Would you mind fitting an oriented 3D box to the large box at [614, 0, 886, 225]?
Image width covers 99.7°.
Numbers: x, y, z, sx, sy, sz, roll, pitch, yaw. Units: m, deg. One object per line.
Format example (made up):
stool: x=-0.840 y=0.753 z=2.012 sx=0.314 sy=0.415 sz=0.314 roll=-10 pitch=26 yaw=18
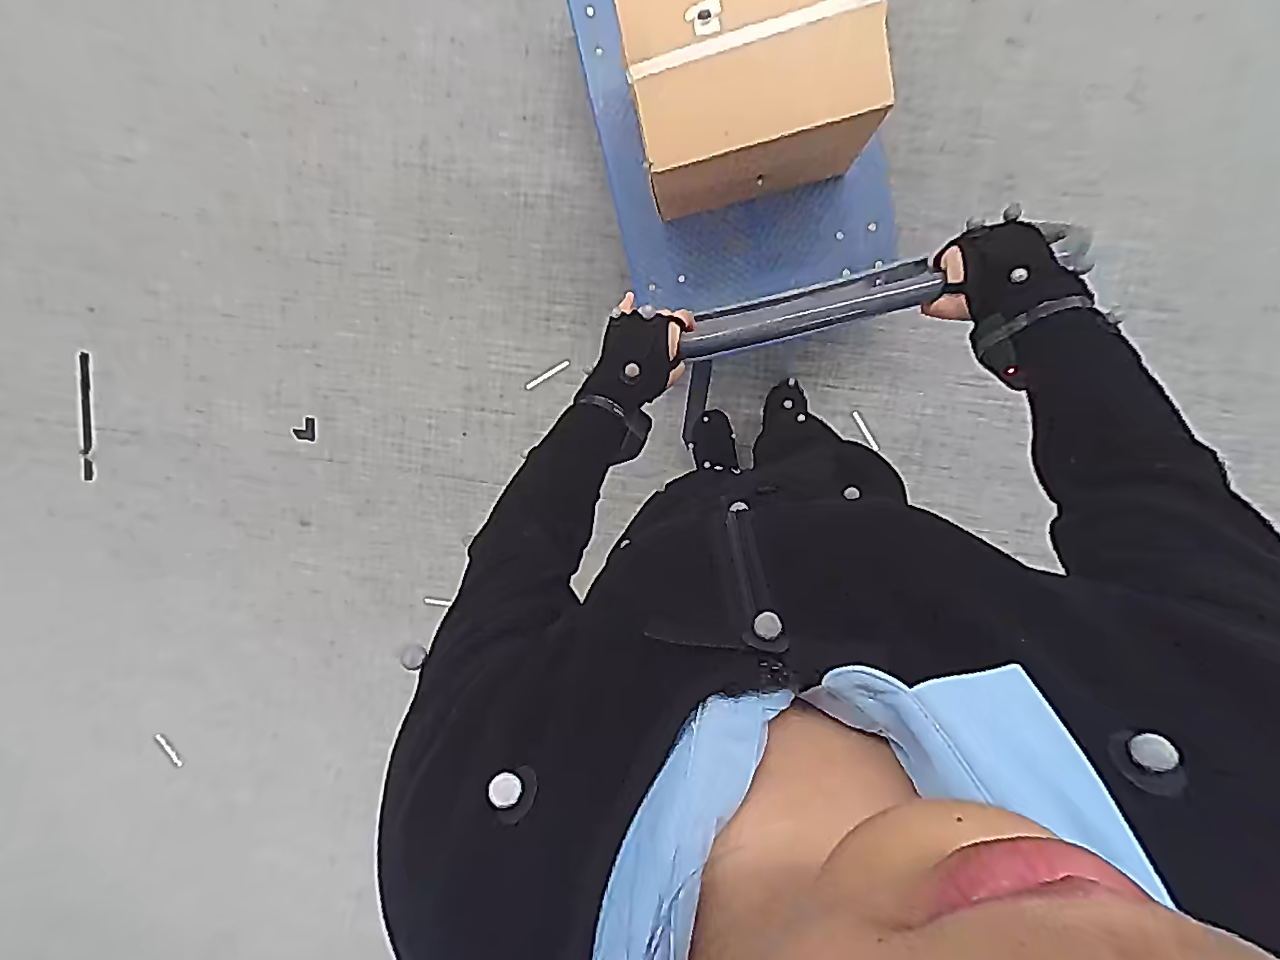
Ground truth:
large box: x=0.200 y=-0.737 z=1.038 sx=0.408 sy=0.320 sz=0.320 roll=-12 pitch=98 yaw=10
